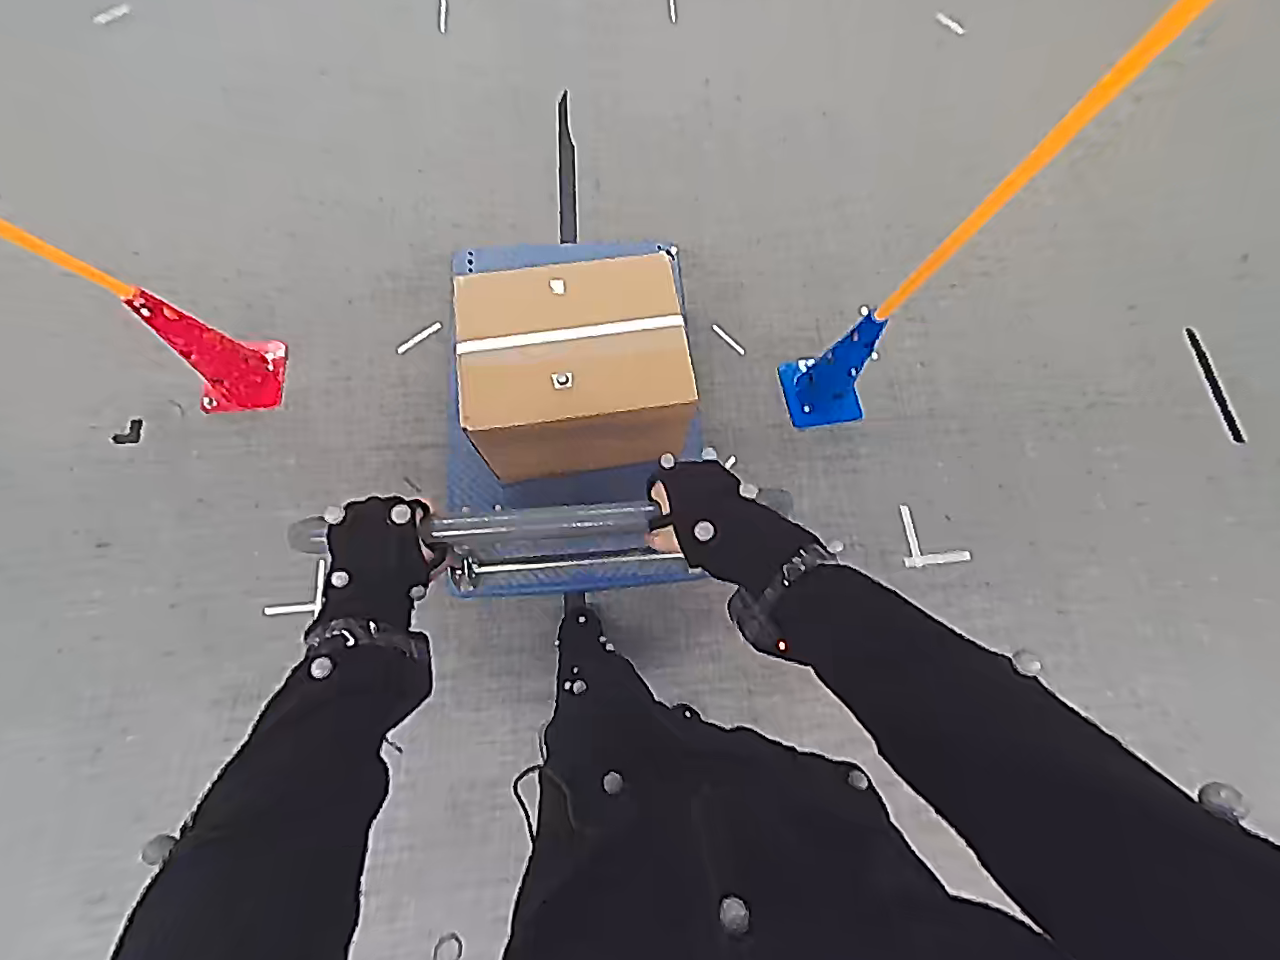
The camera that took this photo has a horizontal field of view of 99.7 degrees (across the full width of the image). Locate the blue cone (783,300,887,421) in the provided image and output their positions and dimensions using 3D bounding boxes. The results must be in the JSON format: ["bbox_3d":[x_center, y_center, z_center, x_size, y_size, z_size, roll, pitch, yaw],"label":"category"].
[{"bbox_3d":[0.506,-0.303,1.328,0.193,0.380,0.192,-7,72,-5],"label":"blue cone"}]
